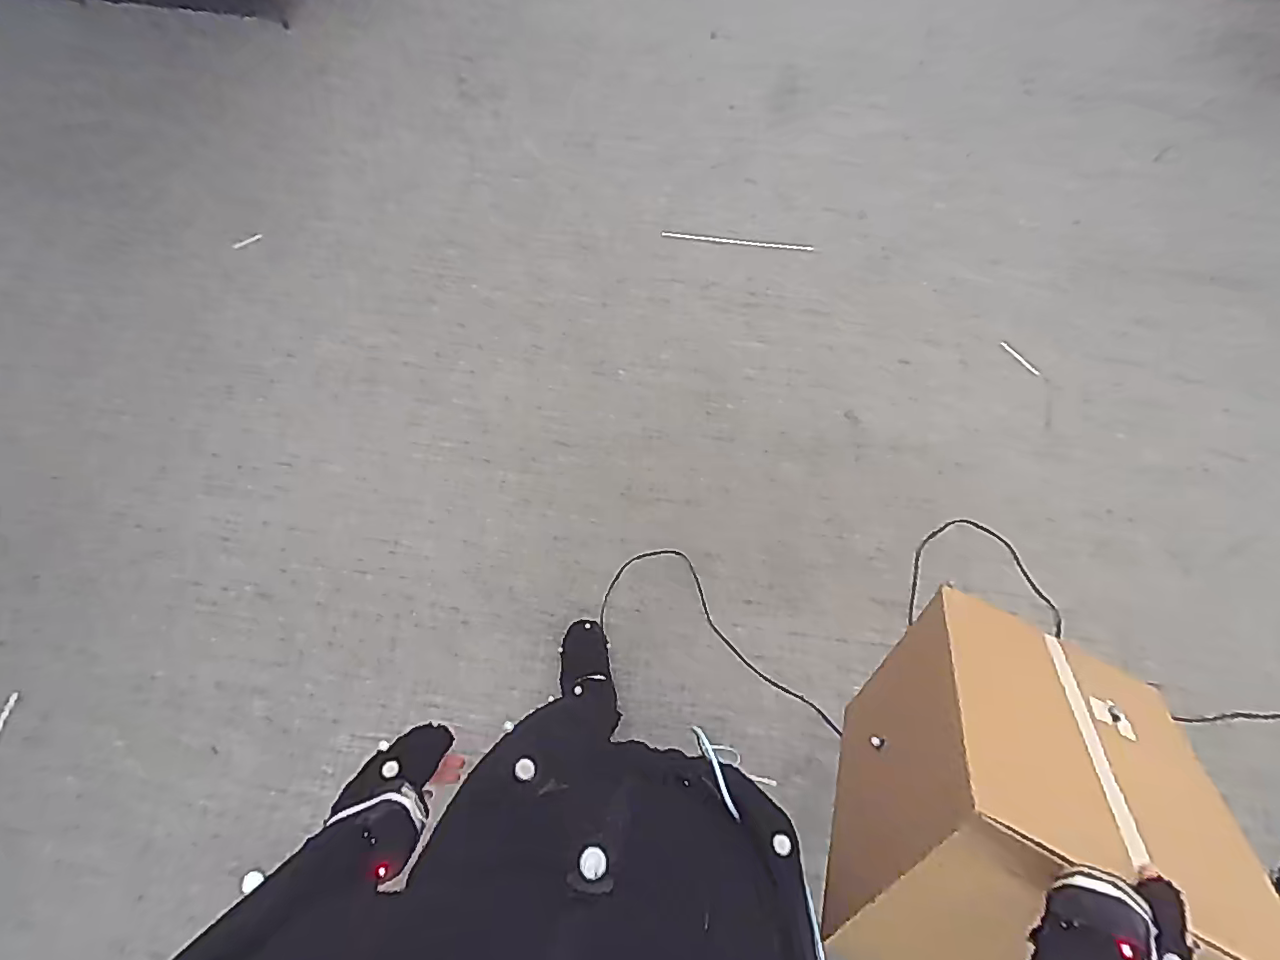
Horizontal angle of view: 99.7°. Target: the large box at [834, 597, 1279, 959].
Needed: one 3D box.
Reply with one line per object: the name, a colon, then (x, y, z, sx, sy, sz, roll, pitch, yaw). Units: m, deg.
large box: (0.477, 0.441, 0.709, 0.320, 0.320, 0.408, 28, 29, 12)
